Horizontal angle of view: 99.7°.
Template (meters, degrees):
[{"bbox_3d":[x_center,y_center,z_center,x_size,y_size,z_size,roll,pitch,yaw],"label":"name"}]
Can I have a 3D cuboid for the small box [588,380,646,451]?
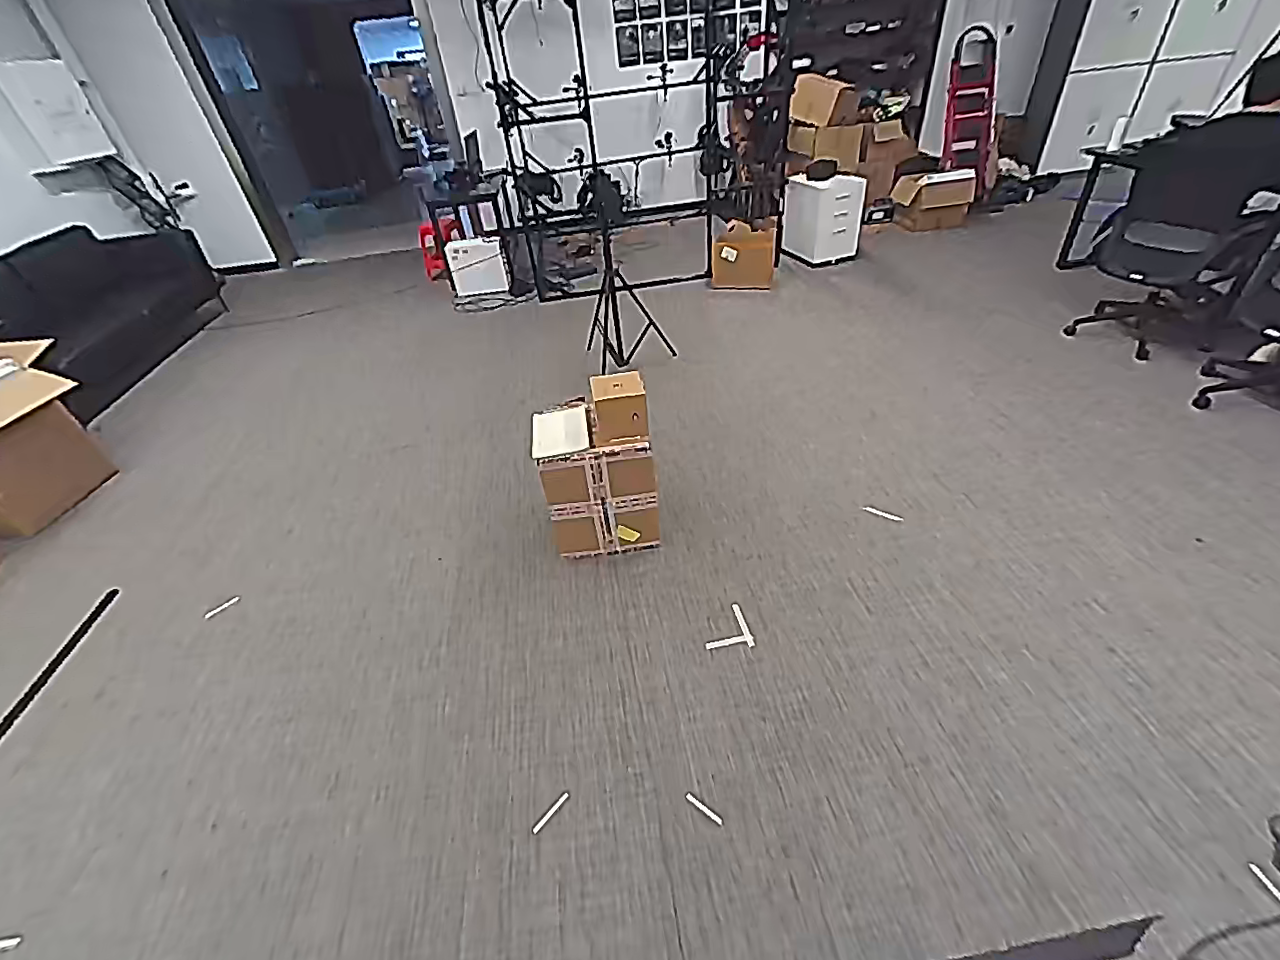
[{"bbox_3d":[-0.076,-0.221,1.861,0.179,0.176,0.168,-10,40,-5],"label":"small box"}]
